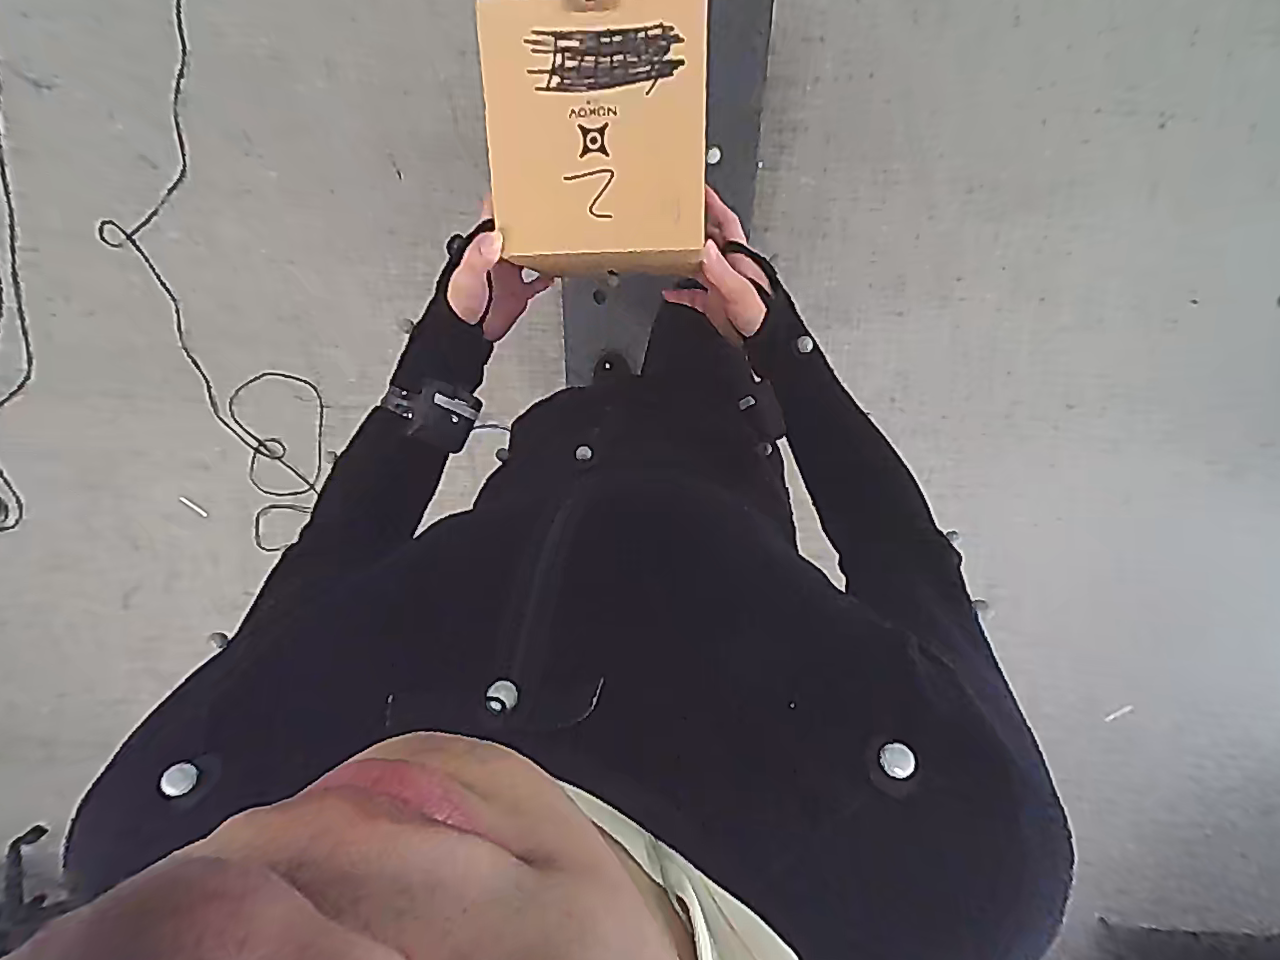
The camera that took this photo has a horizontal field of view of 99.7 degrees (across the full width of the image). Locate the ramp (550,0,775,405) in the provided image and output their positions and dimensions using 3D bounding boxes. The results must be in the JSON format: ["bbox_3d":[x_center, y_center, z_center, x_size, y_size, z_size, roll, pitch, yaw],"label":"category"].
[{"bbox_3d":[0.044,-0.666,1.352,0.509,0.206,0.991,-1,107,0],"label":"ramp"}]
